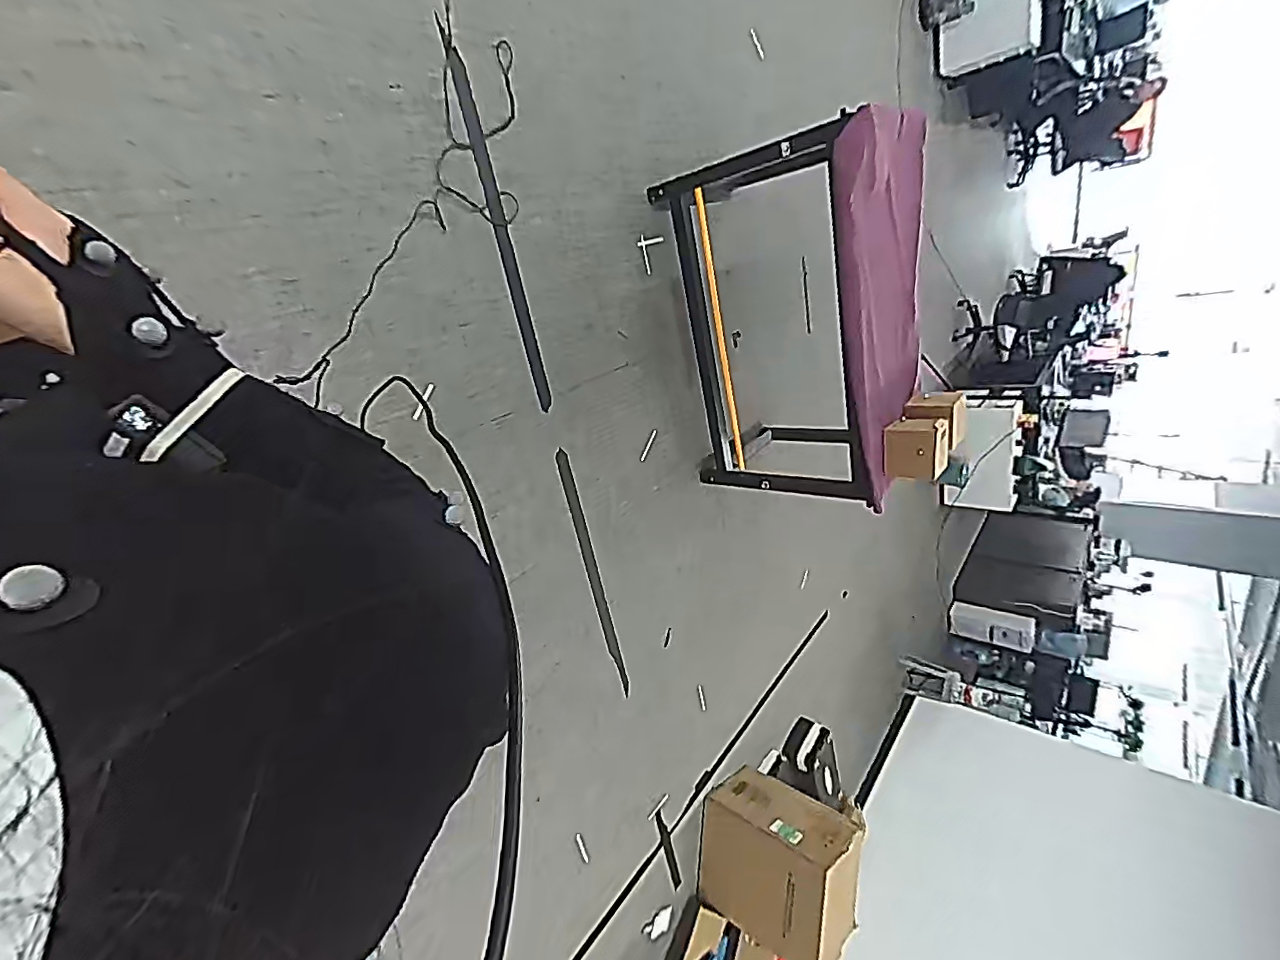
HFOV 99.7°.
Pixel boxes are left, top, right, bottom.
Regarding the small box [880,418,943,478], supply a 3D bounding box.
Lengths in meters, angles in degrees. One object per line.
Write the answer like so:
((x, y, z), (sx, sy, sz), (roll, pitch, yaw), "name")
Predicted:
((0.962, -0.117, 1.920), (0.168, 0.176, 0.179), (-26, 115, -44), "small box")

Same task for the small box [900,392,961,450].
((1.109, -0.231, 2.066), (0.168, 0.176, 0.179), (-32, 119, -40), "small box")
